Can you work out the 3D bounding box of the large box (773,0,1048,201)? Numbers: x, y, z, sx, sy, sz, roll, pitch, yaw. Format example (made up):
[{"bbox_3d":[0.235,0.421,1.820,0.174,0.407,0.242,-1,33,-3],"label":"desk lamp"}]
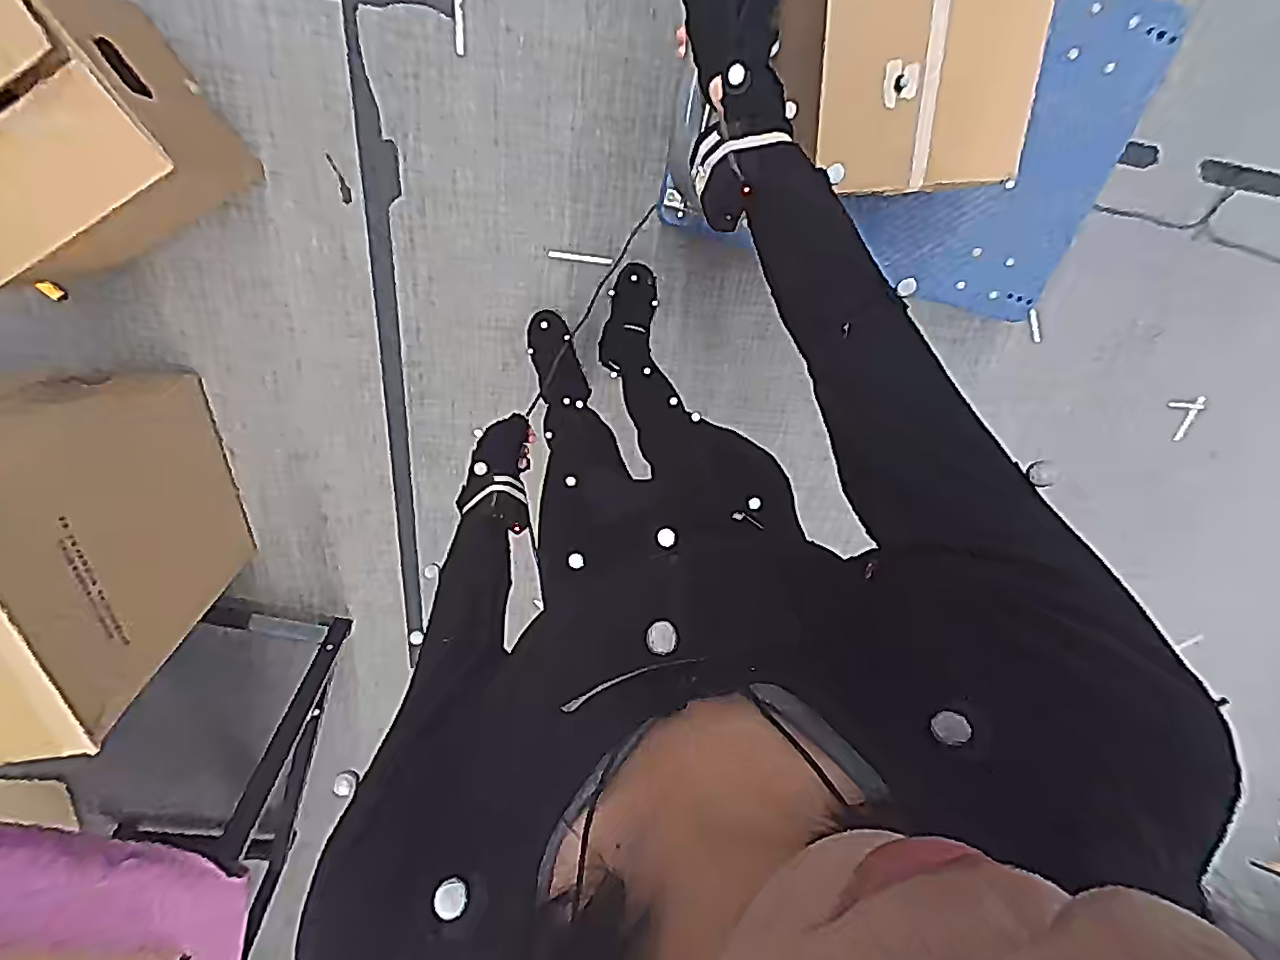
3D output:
[{"bbox_3d":[0.408,-0.698,0.887,0.320,0.320,0.408,-3,117,2],"label":"large box"}]
